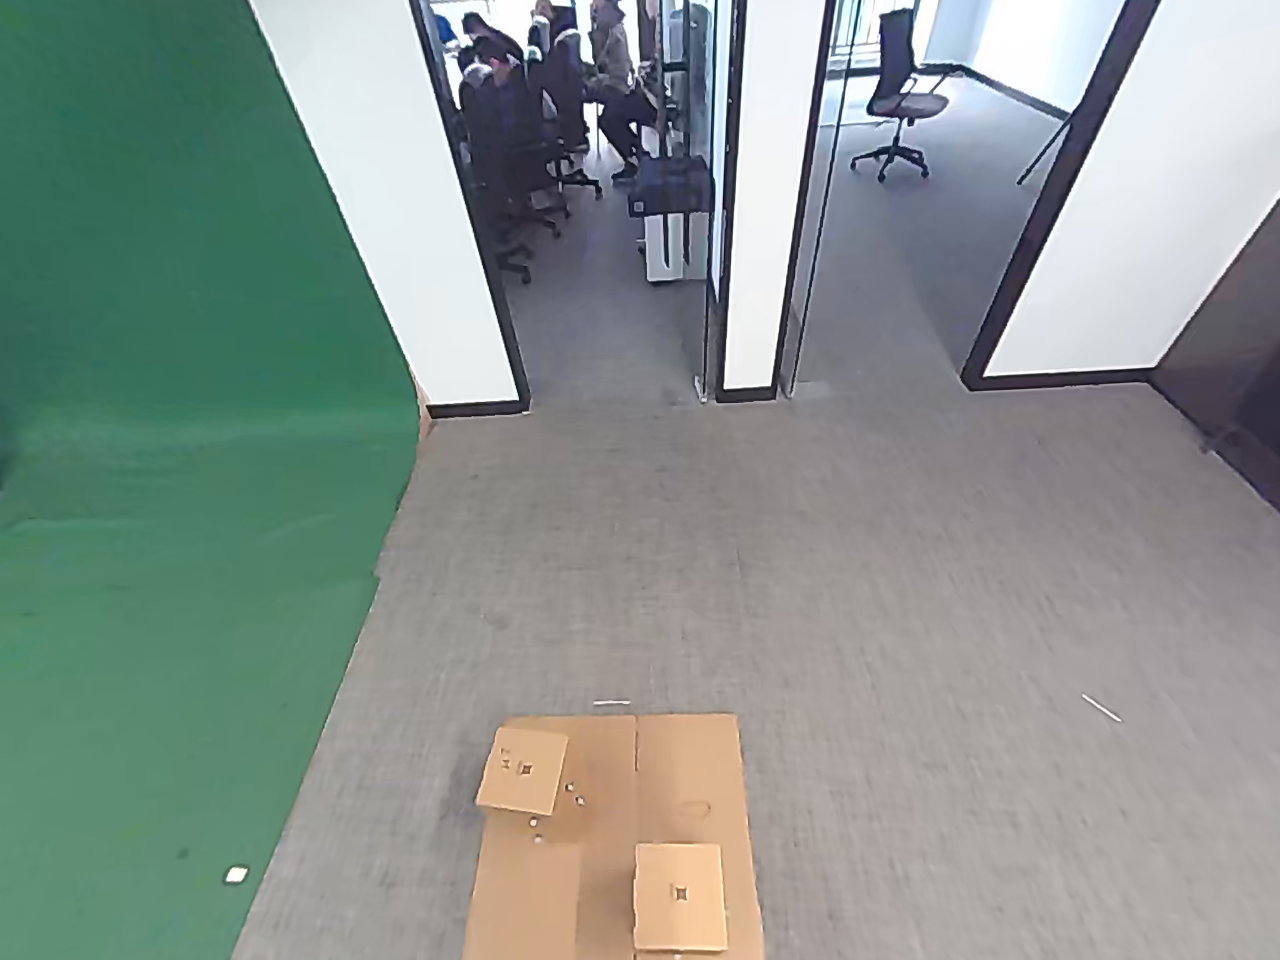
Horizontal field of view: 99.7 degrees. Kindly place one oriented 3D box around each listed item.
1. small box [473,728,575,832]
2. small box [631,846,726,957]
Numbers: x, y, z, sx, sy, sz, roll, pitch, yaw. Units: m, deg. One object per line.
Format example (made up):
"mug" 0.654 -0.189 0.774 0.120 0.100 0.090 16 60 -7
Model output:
"small box" -0.259 0.703 1.262 0.179 0.176 0.168 4 46 8
"small box" 0.076 0.857 1.099 0.179 0.176 0.168 -3 47 3
